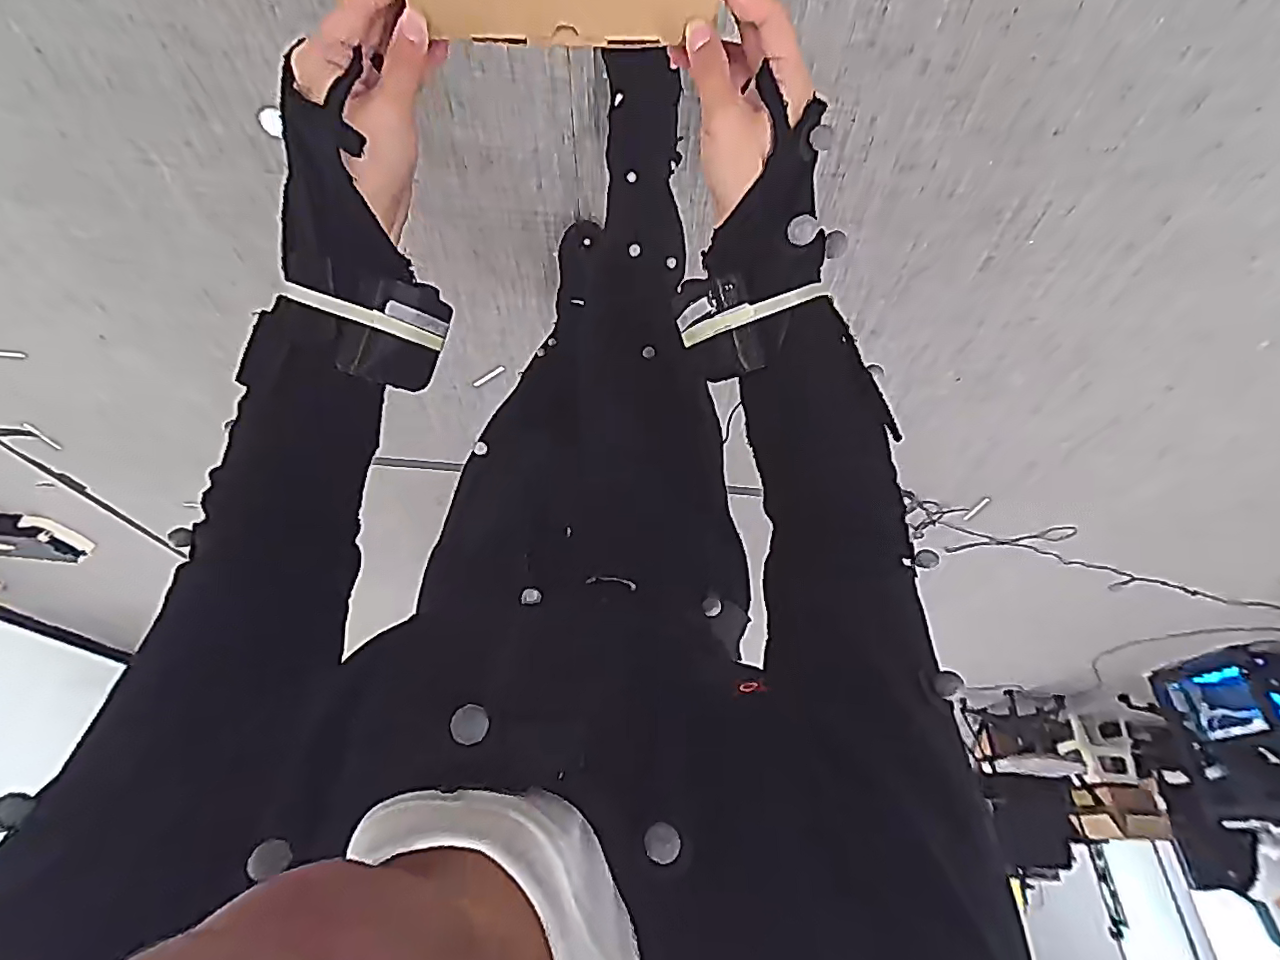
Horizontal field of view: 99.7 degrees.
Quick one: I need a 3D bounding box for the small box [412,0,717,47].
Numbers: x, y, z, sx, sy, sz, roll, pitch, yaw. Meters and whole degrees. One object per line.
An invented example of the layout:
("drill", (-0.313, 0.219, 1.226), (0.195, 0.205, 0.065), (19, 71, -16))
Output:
("small box", (-0.040, -0.362, 0.291), (0.168, 0.176, 0.179), (0, 139, -2))
